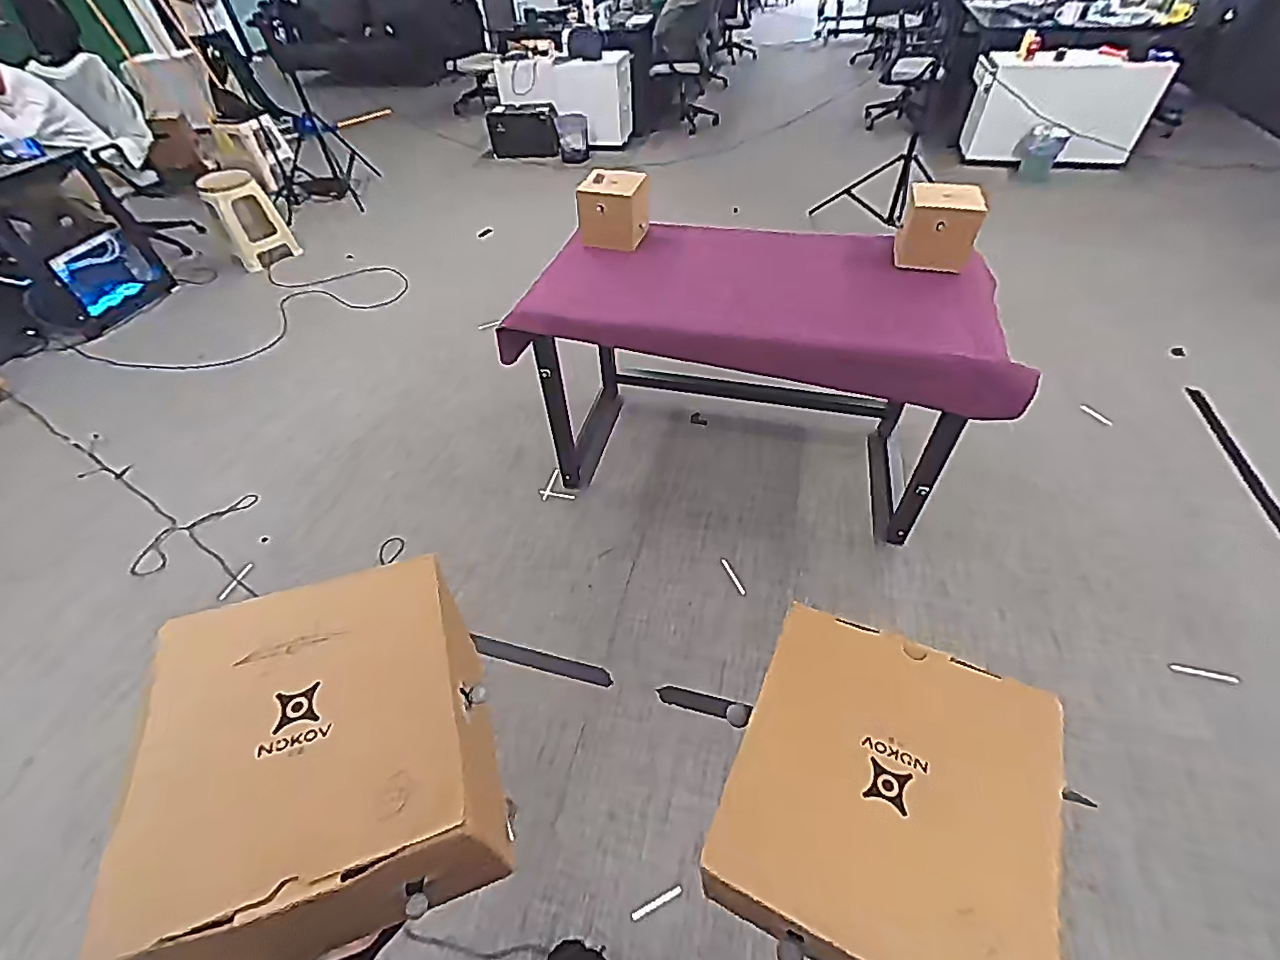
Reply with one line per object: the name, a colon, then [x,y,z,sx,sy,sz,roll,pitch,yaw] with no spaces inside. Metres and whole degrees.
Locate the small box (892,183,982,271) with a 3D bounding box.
small box: [0.810,-0.699,1.497,0.179,0.176,0.168,11,50,12]

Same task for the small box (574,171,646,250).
small box: [-0.086,-0.831,1.671,0.179,0.176,0.168,12,52,12]

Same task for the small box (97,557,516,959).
small box: [-0.188,0.186,0.362,0.168,0.176,0.179,-14,49,-16]

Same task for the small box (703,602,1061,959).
small box: [0.153,0.221,0.368,0.168,0.176,0.179,17,51,22]
